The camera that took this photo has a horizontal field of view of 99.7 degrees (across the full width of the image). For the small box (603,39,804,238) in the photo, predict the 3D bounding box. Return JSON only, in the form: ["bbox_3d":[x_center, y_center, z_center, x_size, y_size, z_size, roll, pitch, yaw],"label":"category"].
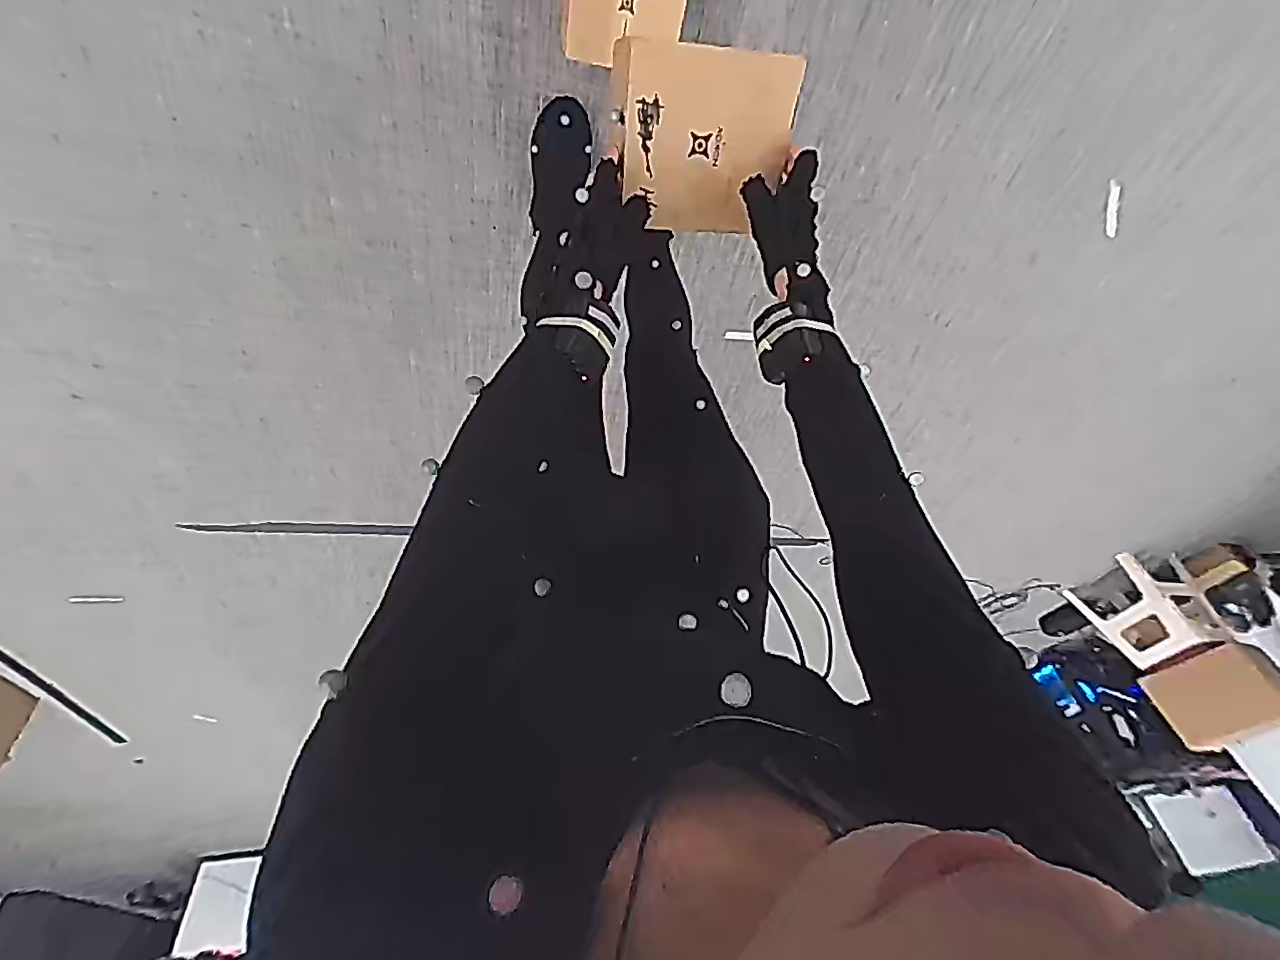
[{"bbox_3d":[0.056,-0.392,0.622,0.179,0.176,0.168,-1,127,-10],"label":"small box"}]

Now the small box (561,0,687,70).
[{"bbox_3d":[-0.027,-0.730,0.805,0.168,0.176,0.179,2,137,-13],"label":"small box"}]
